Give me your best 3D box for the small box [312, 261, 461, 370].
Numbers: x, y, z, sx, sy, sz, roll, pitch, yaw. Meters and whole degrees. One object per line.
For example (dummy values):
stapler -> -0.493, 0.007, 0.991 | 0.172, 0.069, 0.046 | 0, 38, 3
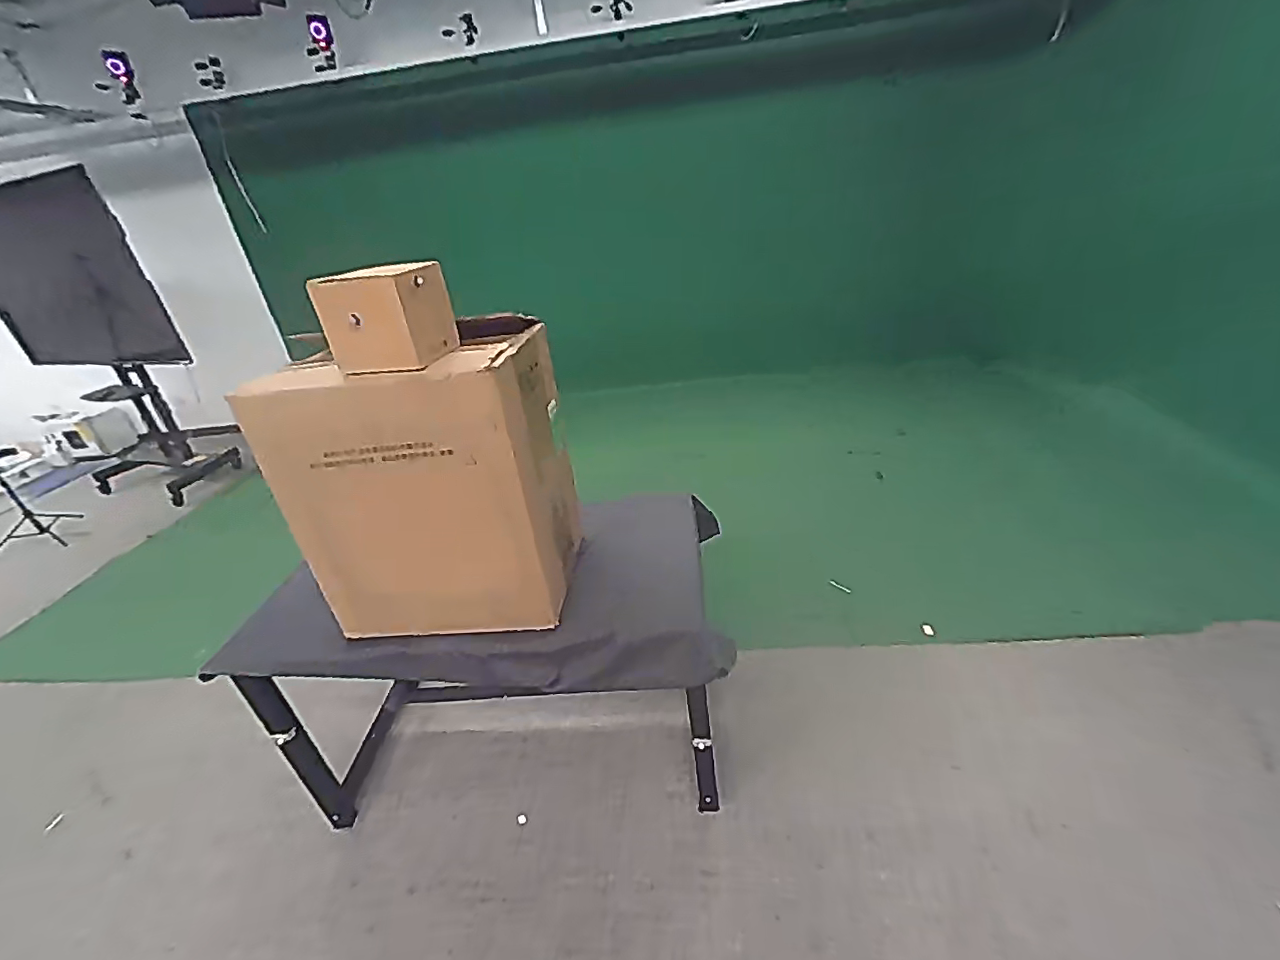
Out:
small box -> -0.476, -0.316, 1.044 | 0.179, 0.176, 0.168 | -1, 29, 12
